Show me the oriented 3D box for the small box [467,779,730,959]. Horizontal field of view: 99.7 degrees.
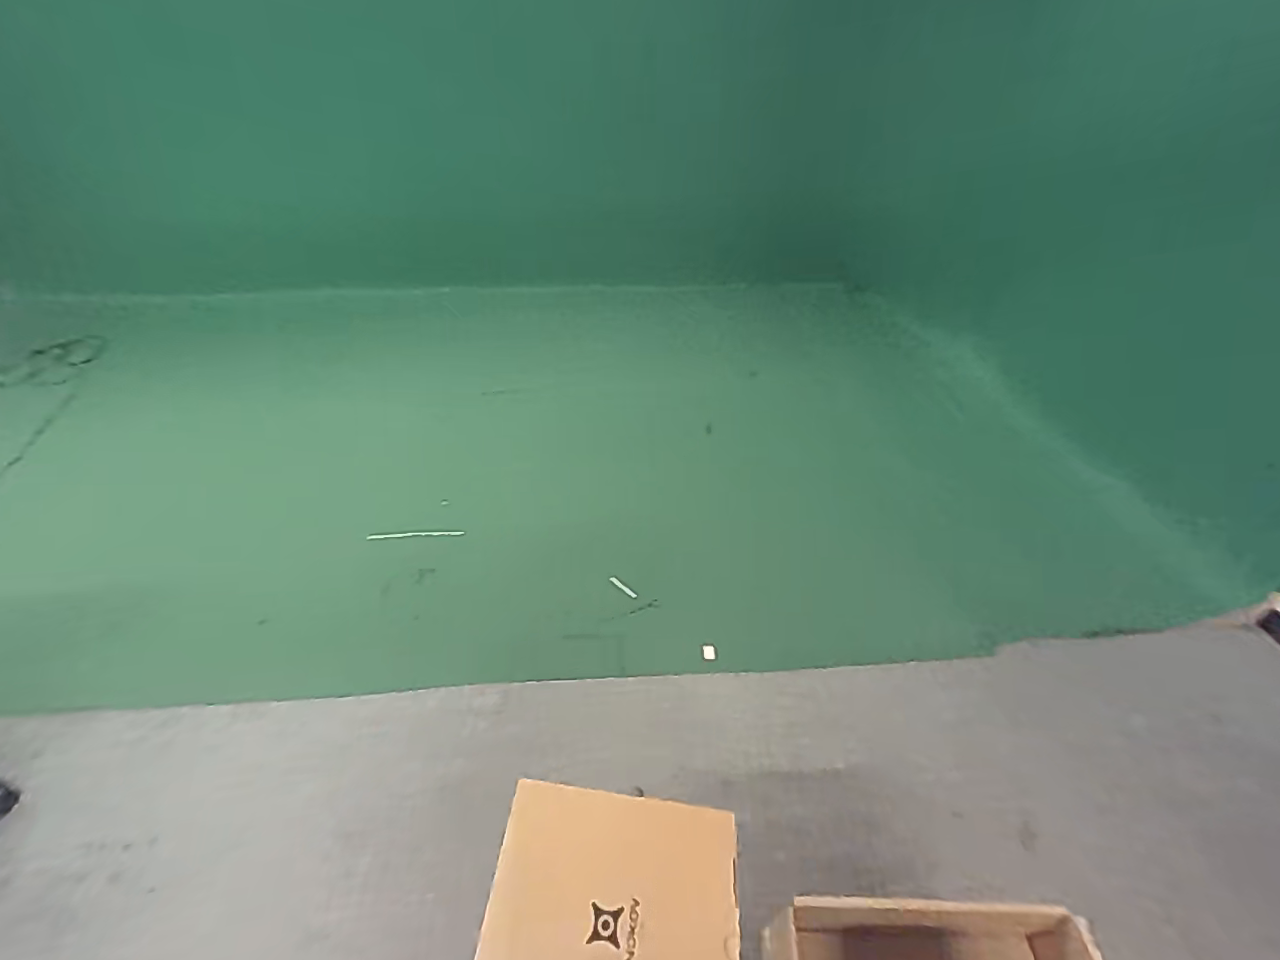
[{"bbox_3d":[-0.034,0.363,0.426,0.179,0.176,0.168,10,44,-1],"label":"small box"}]
